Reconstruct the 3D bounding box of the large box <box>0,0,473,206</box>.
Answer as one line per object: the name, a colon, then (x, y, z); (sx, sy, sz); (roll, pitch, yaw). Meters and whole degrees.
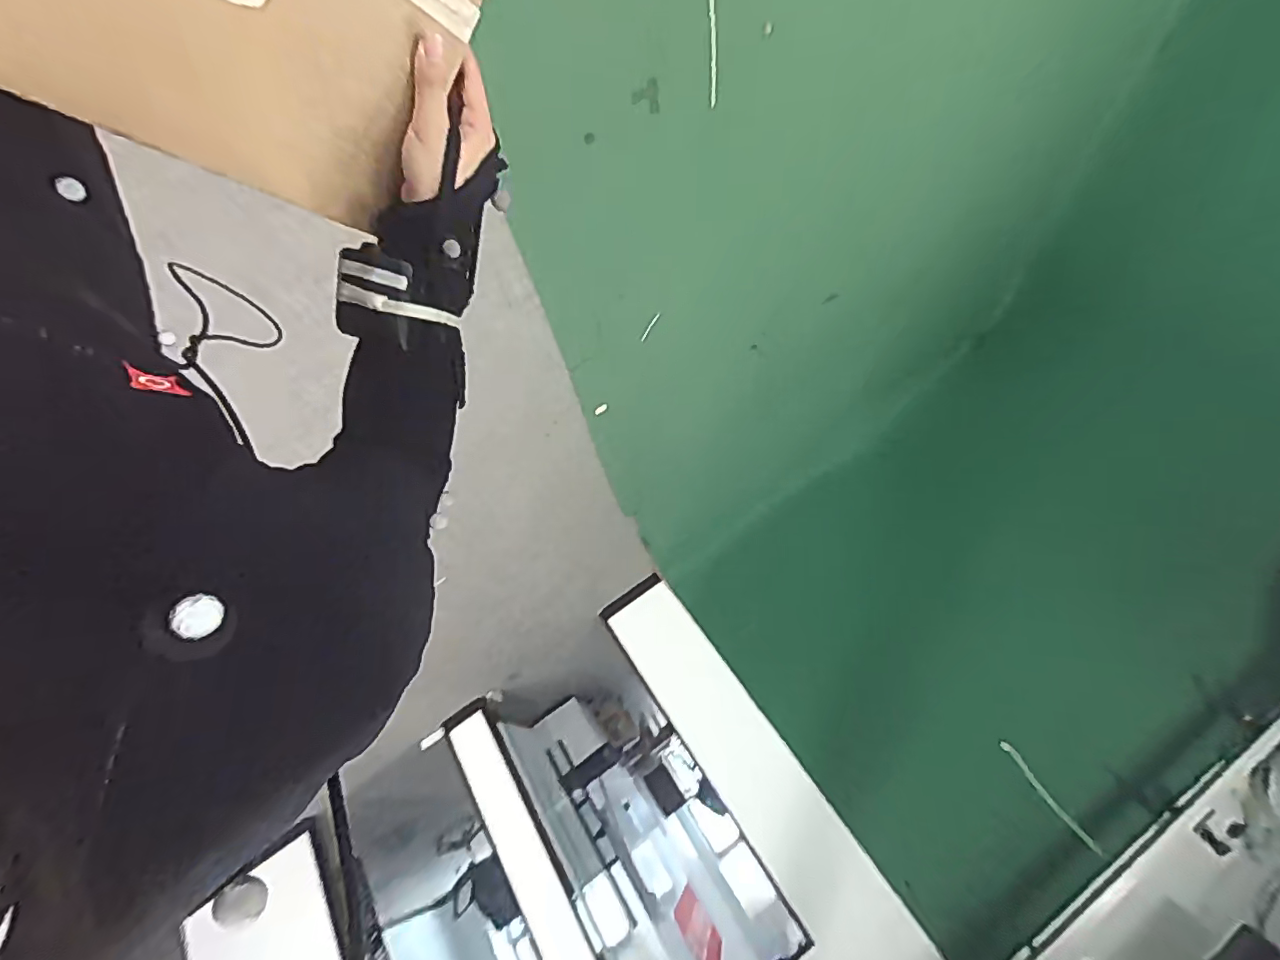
large box: (-0.314, -0.417, 0.260); (0.408, 0.320, 0.320); (1, 133, -53)
